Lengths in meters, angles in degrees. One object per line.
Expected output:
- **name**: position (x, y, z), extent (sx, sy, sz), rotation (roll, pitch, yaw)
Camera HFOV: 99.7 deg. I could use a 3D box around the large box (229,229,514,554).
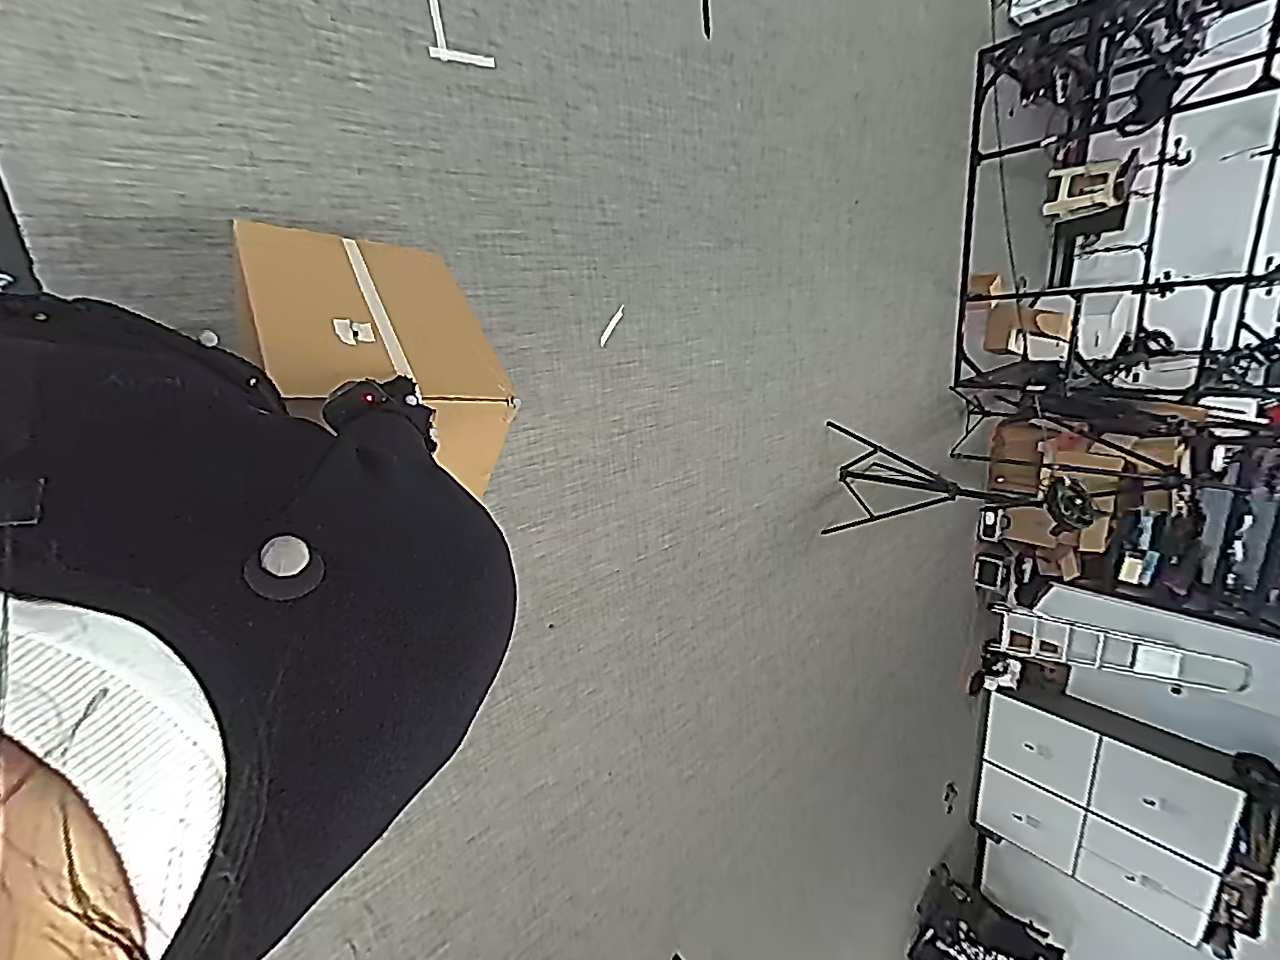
- **large box**: position (-0.468, -0.144, 0.906), extent (0.320, 0.408, 0.320), rotation (-7, 143, -40)
